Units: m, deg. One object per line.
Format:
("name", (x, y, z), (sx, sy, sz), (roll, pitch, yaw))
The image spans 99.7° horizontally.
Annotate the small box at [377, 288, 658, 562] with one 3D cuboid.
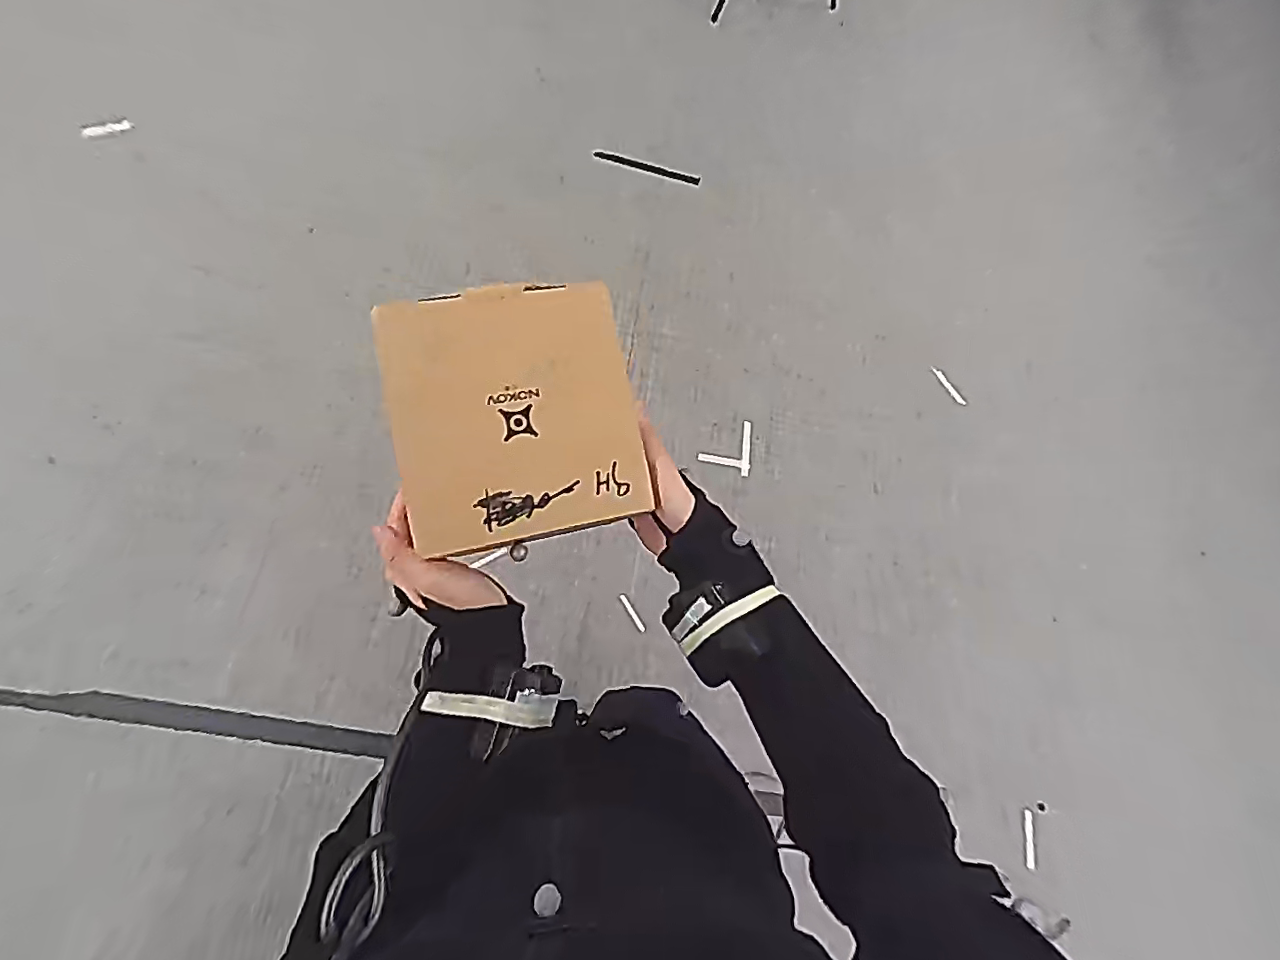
("small box", (-0.101, -0.033, 0.451), (0.168, 0.176, 0.179), (-12, 85, -14))
